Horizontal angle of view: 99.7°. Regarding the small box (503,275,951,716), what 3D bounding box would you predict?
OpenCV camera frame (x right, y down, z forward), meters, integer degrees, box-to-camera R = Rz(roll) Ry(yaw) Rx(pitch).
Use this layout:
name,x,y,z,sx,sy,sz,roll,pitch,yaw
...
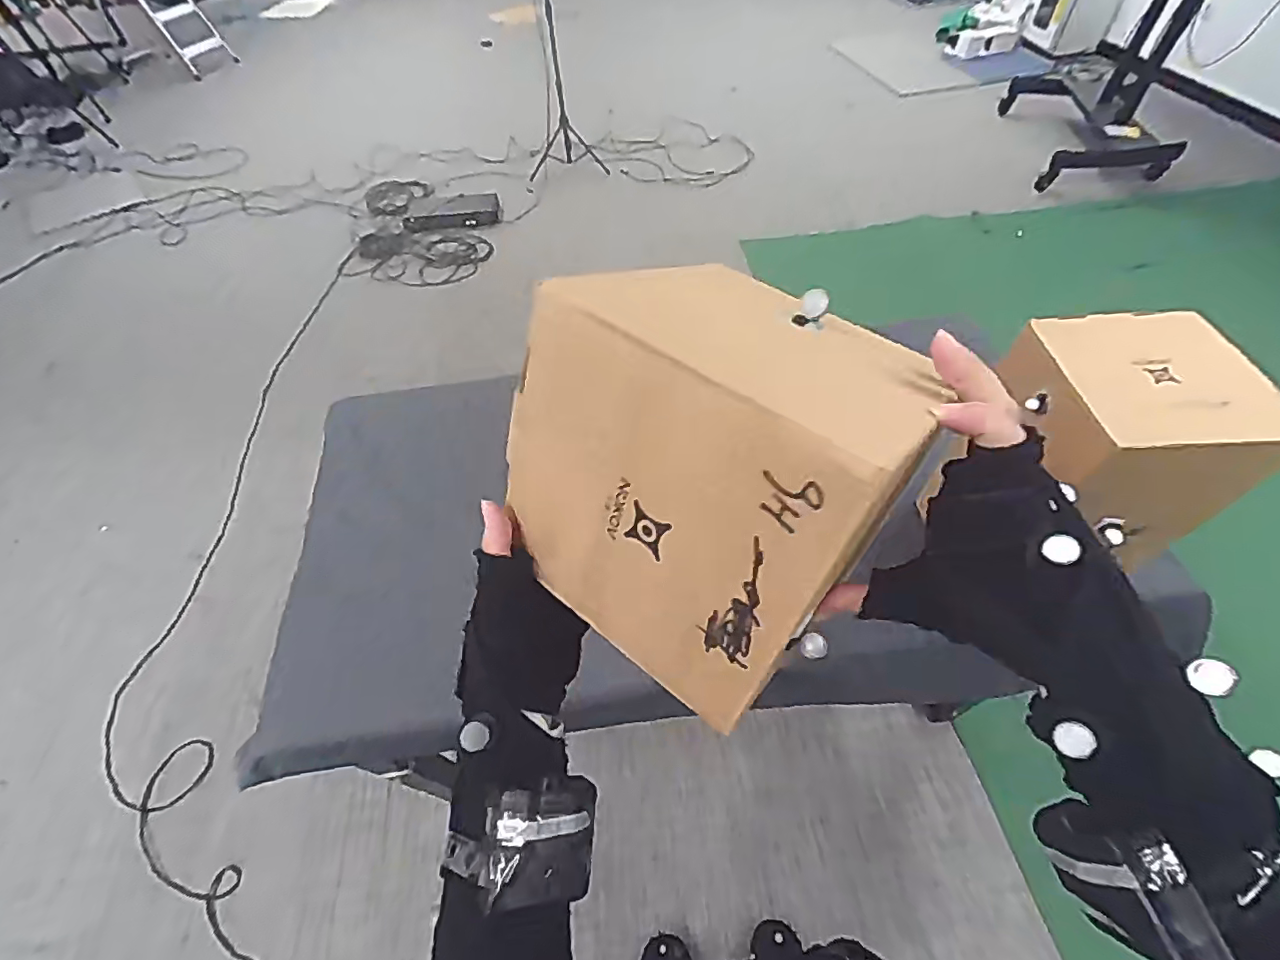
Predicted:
name,x,y,z,sx,sy,sz,roll,pitch,yaw
small box,0.048,-0.010,0.326,0.179,0.168,0.176,36,37,24

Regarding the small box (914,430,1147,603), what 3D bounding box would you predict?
name,x,y,z,sx,sy,sz,roll,pitch,yaw
small box,0.487,0.051,0.702,0.168,0.176,0.179,-2,52,2

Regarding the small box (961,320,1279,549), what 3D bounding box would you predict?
name,x,y,z,sx,sy,sz,roll,pitch,yaw
small box,0.477,-0.044,0.571,0.168,0.176,0.179,-3,53,3
